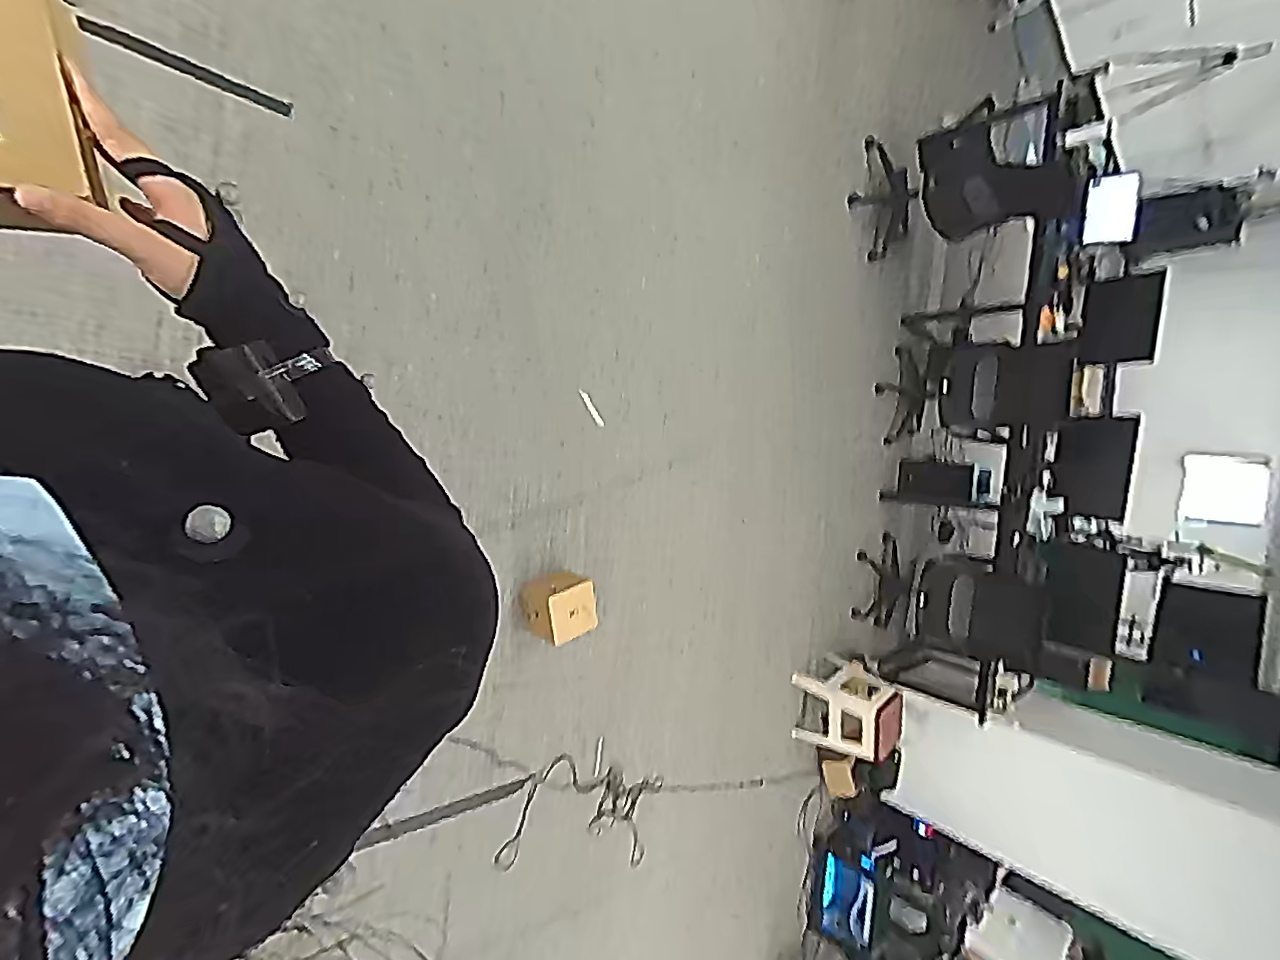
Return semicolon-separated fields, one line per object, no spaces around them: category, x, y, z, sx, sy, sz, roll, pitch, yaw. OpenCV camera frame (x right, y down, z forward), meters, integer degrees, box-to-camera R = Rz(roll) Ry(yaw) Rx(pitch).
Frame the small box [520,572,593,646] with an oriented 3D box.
small box;-0.280;0.418;1.779;0.179;0.176;0.168;-16;106;-41
